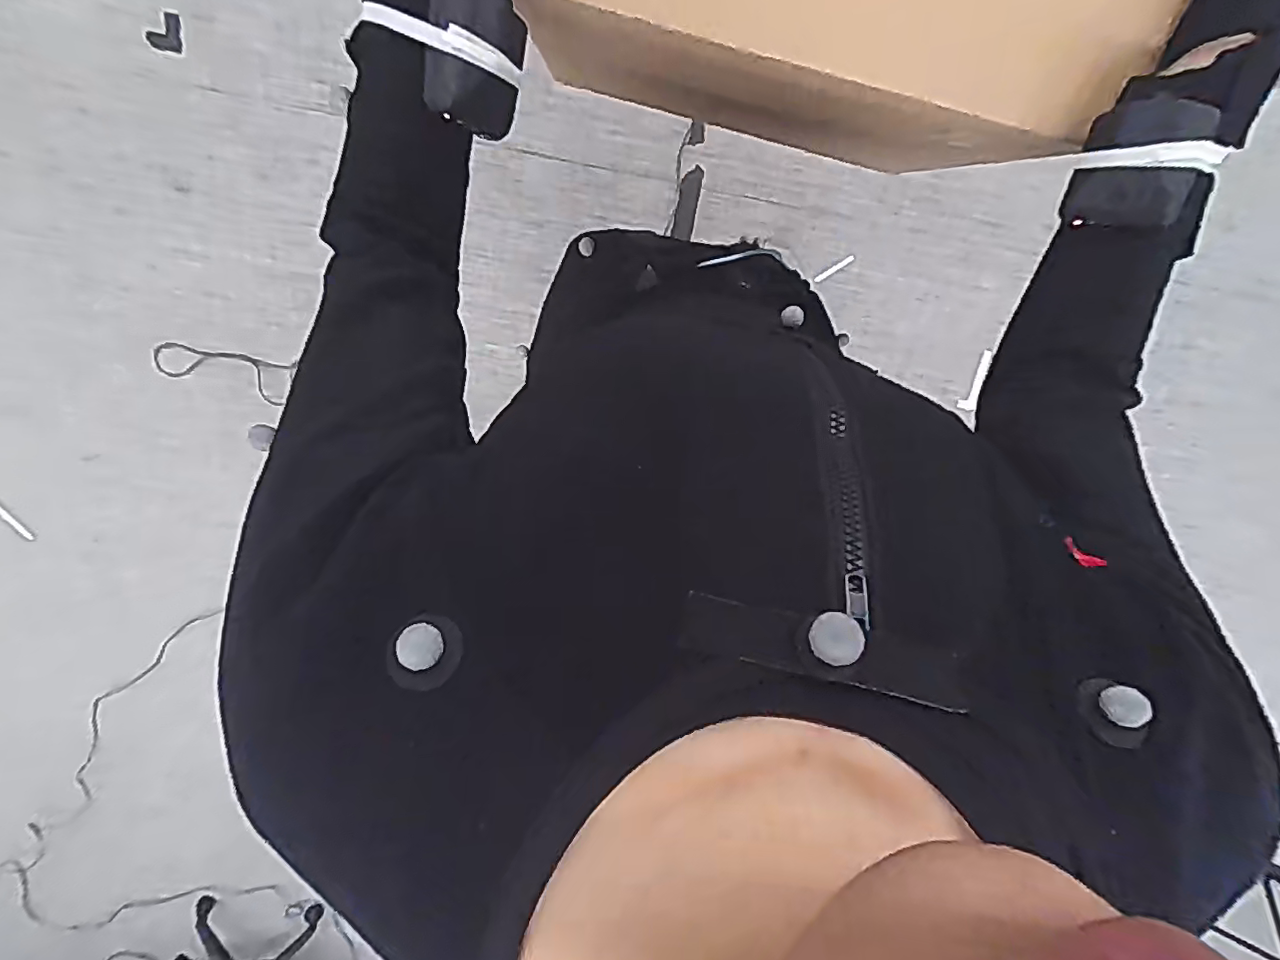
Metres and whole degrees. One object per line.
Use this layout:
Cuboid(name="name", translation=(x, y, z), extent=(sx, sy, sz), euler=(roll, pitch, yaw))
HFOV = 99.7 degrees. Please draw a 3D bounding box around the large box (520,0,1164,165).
Cuboid(name="large box", translation=(0.136, -0.460, 0.406), extent=(0.408, 0.320, 0.320), euler=(10, 118, -8))
